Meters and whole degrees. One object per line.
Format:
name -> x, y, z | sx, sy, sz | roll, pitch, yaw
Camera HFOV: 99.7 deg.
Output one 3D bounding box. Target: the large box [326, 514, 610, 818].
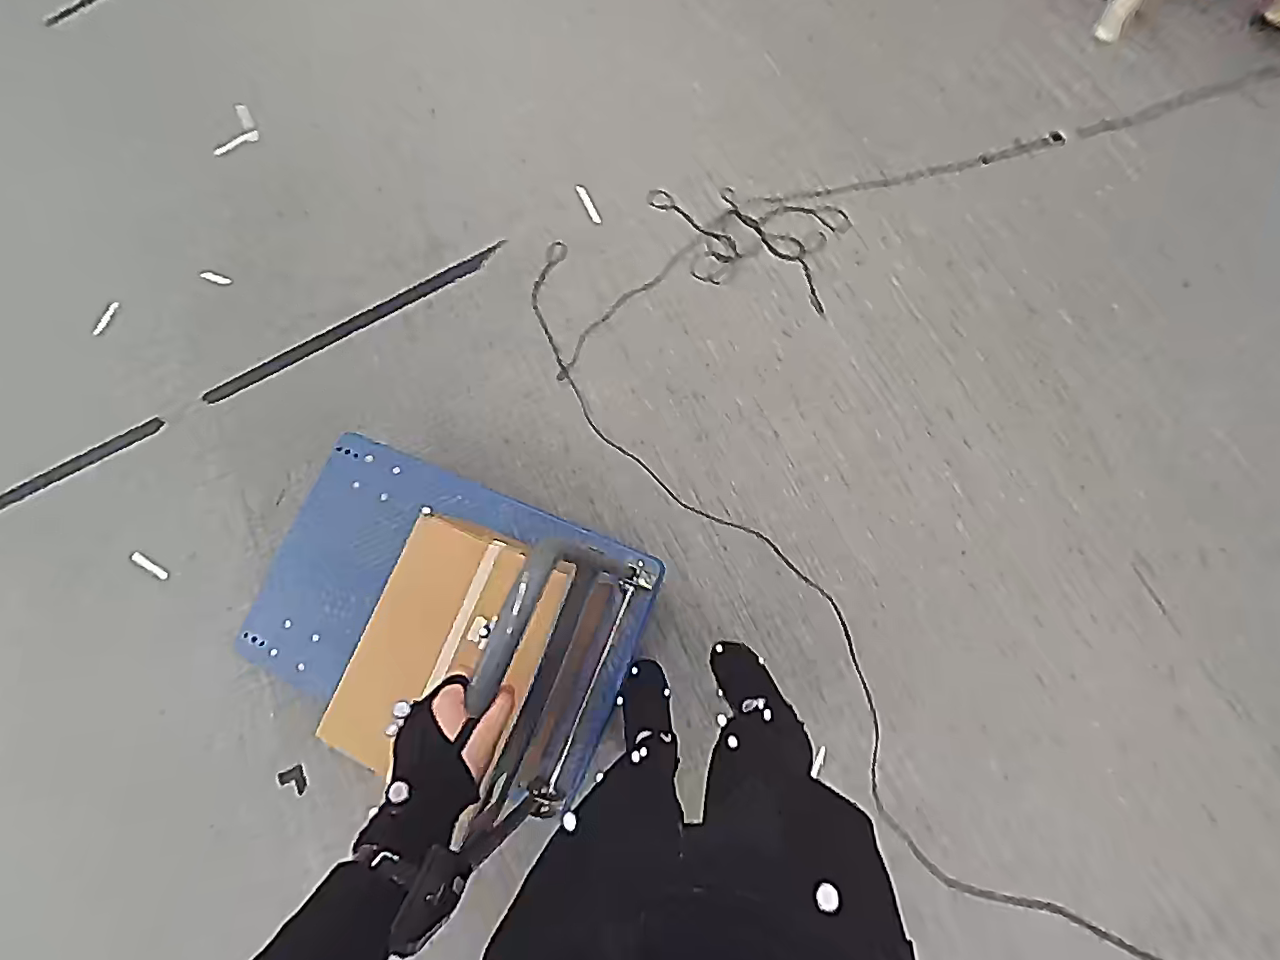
large box -> -0.292, 0.326, 1.036 | 0.320, 0.320, 0.408 | 21, 81, 11
